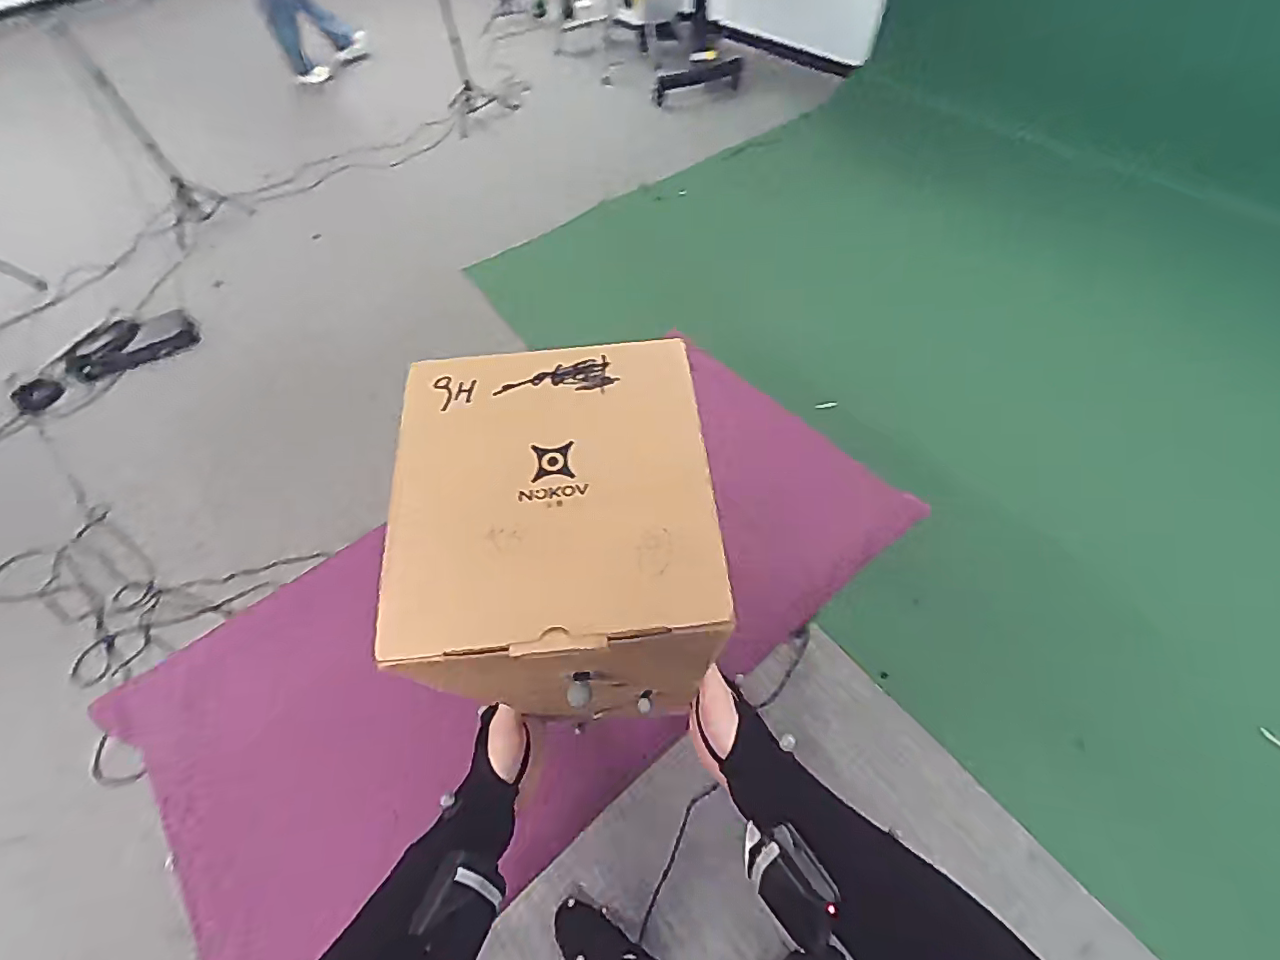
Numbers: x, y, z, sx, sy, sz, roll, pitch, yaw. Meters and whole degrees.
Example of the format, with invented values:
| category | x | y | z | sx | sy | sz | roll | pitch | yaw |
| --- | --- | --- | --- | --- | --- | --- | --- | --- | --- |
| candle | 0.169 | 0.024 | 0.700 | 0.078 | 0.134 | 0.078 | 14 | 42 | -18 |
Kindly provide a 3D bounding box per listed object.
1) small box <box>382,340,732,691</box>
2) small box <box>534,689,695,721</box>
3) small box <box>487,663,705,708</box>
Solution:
| category | x | y | z | sx | sy | sz | roll | pitch | yaw |
| --- | --- | --- | --- | --- | --- | --- | --- | --- | --- |
| small box | -0.041 | 0.036 | 0.353 | 0.168 | 0.176 | 0.179 | -5 | 63 | -1 |
| small box | -0.026 | 0.185 | 0.644 | 0.168 | 0.176 | 0.179 | -6 | 61 | 0 |
| small box | -0.034 | 0.110 | 0.500 | 0.168 | 0.176 | 0.179 | -5 | 62 | 0 |
